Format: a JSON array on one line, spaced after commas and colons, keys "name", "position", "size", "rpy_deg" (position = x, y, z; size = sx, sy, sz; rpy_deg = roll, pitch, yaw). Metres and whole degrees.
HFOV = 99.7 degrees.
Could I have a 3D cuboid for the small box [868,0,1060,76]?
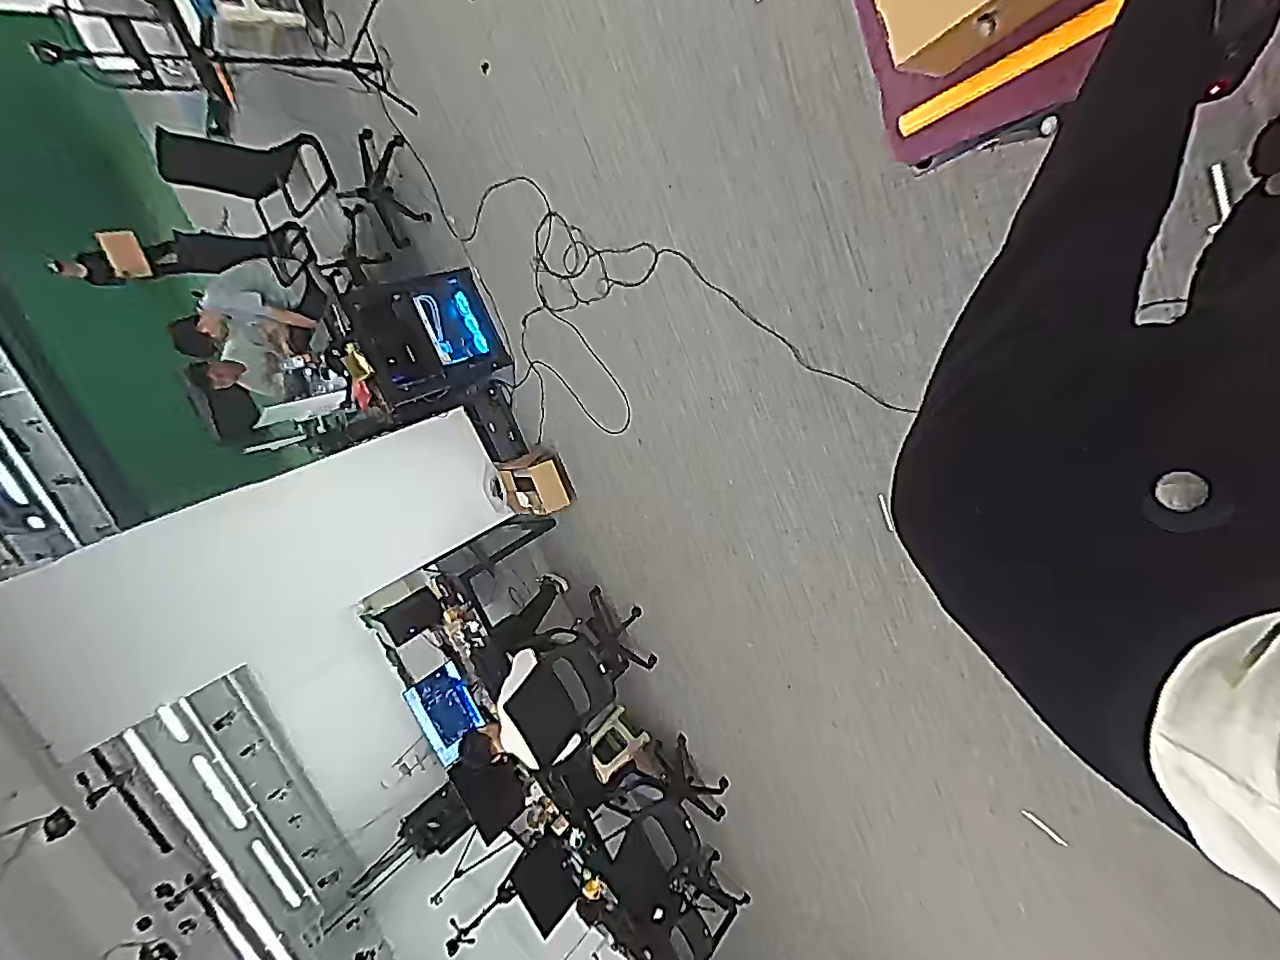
[{"name": "small box", "position": [0.353, -0.565, 0.566], "size": [0.179, 0.176, 0.168], "rpy_deg": [-11, 106, 50]}]
